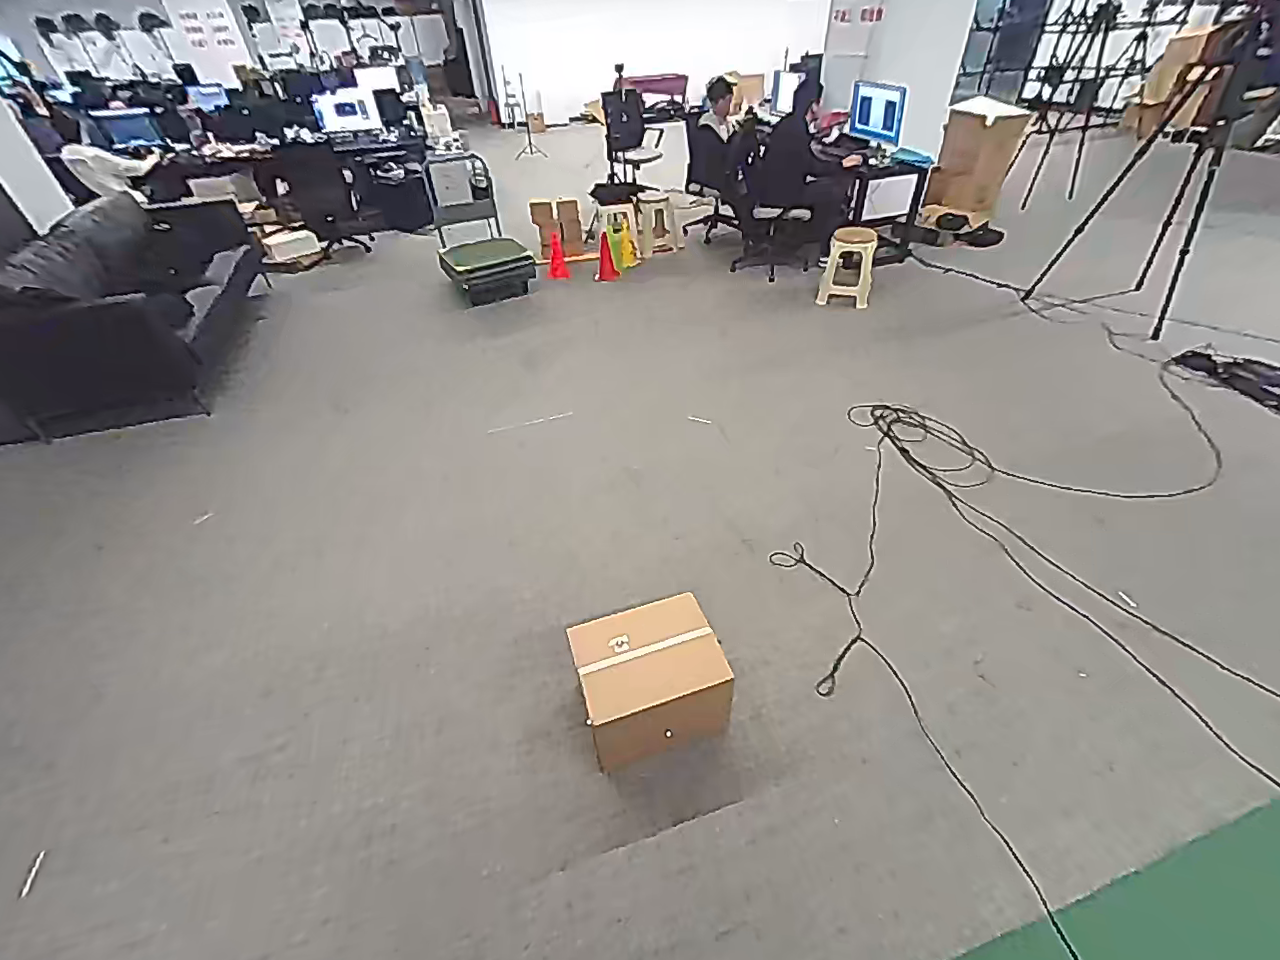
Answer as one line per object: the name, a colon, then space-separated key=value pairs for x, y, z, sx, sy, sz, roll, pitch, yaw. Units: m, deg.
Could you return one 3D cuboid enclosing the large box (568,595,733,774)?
large box: x=0.032 y=0.614 z=1.639 sx=0.408 sy=0.320 sz=0.320 roll=-16 pitch=41 yaw=-12
